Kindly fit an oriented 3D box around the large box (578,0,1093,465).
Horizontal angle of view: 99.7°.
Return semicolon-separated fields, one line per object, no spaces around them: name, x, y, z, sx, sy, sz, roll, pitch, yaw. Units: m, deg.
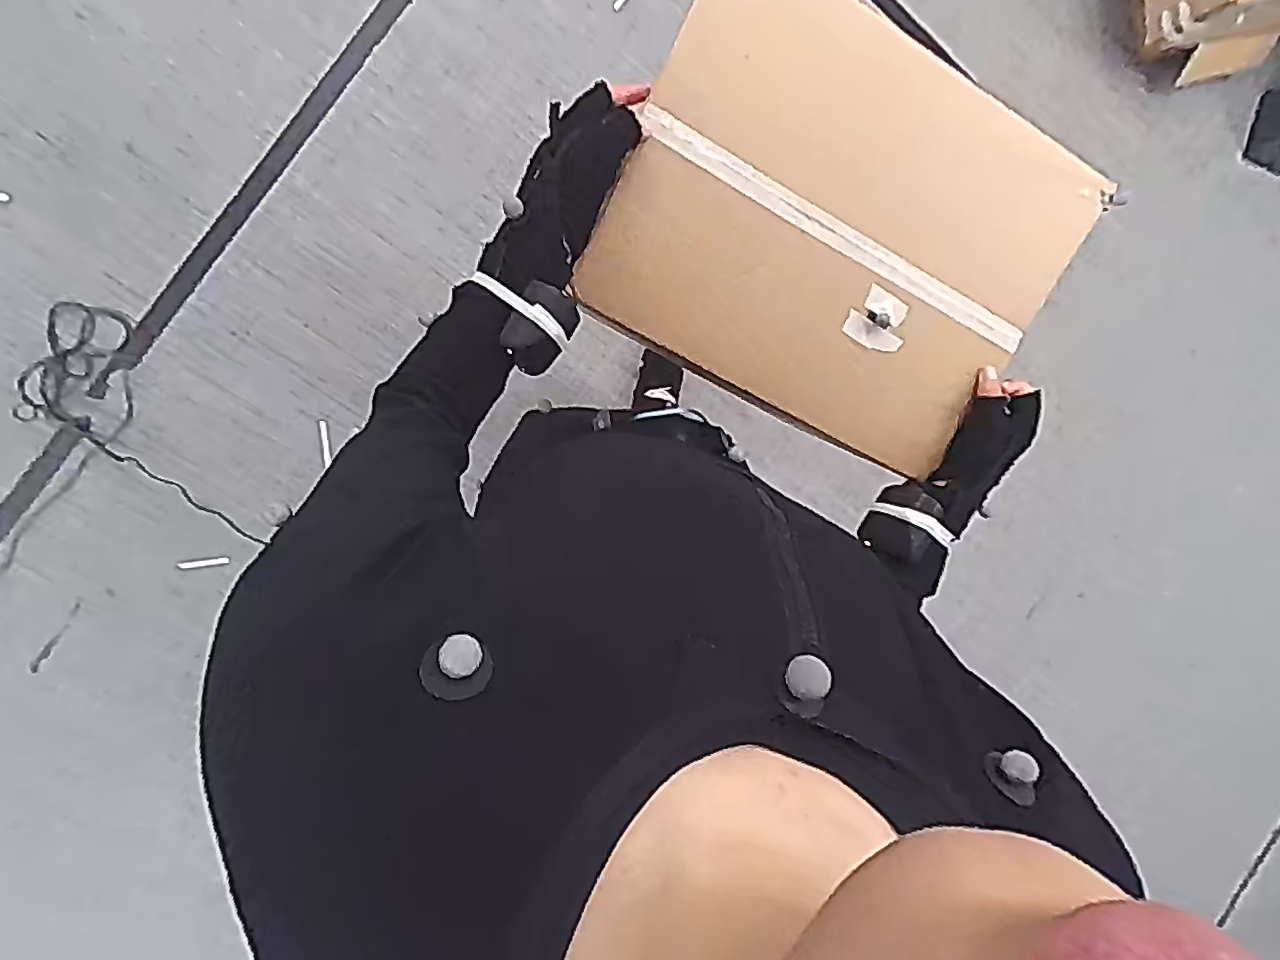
large box;0.168;-0.265;0.638;0.408;0.320;0.320;26;103;-12
